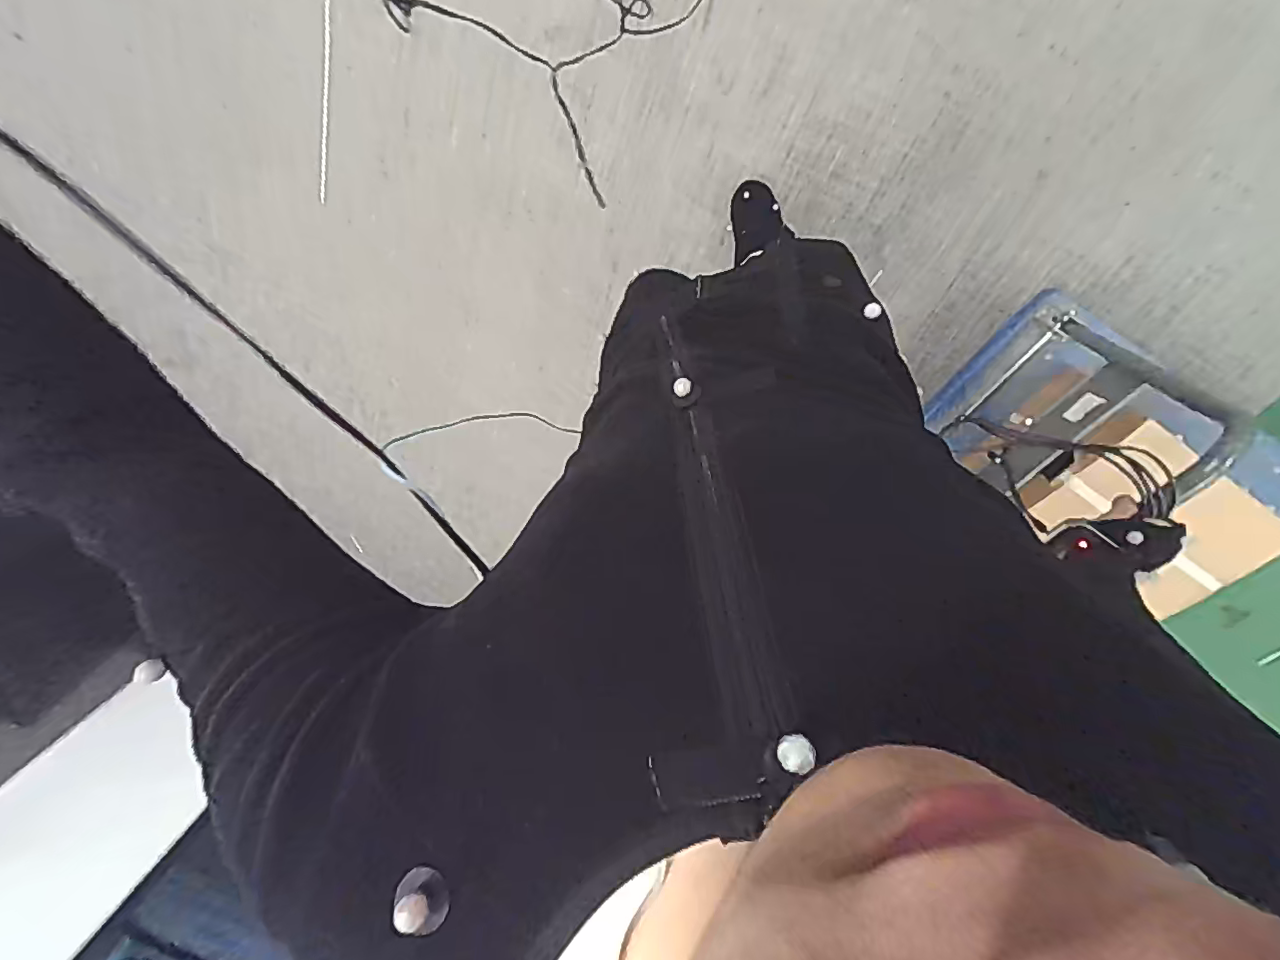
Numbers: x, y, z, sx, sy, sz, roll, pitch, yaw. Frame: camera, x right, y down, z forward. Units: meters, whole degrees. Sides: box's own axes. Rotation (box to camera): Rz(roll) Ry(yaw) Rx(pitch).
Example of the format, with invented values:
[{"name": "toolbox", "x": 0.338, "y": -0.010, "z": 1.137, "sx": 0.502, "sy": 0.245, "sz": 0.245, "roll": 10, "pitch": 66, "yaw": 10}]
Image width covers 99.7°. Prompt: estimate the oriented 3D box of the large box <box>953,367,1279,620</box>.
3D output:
[{"name": "large box", "x": 0.999, "y": 0.020, "z": 1.187, "sx": 0.408, "sy": 0.320, "sz": 0.320, "roll": 33, "pitch": 122, "yaw": -7}]
